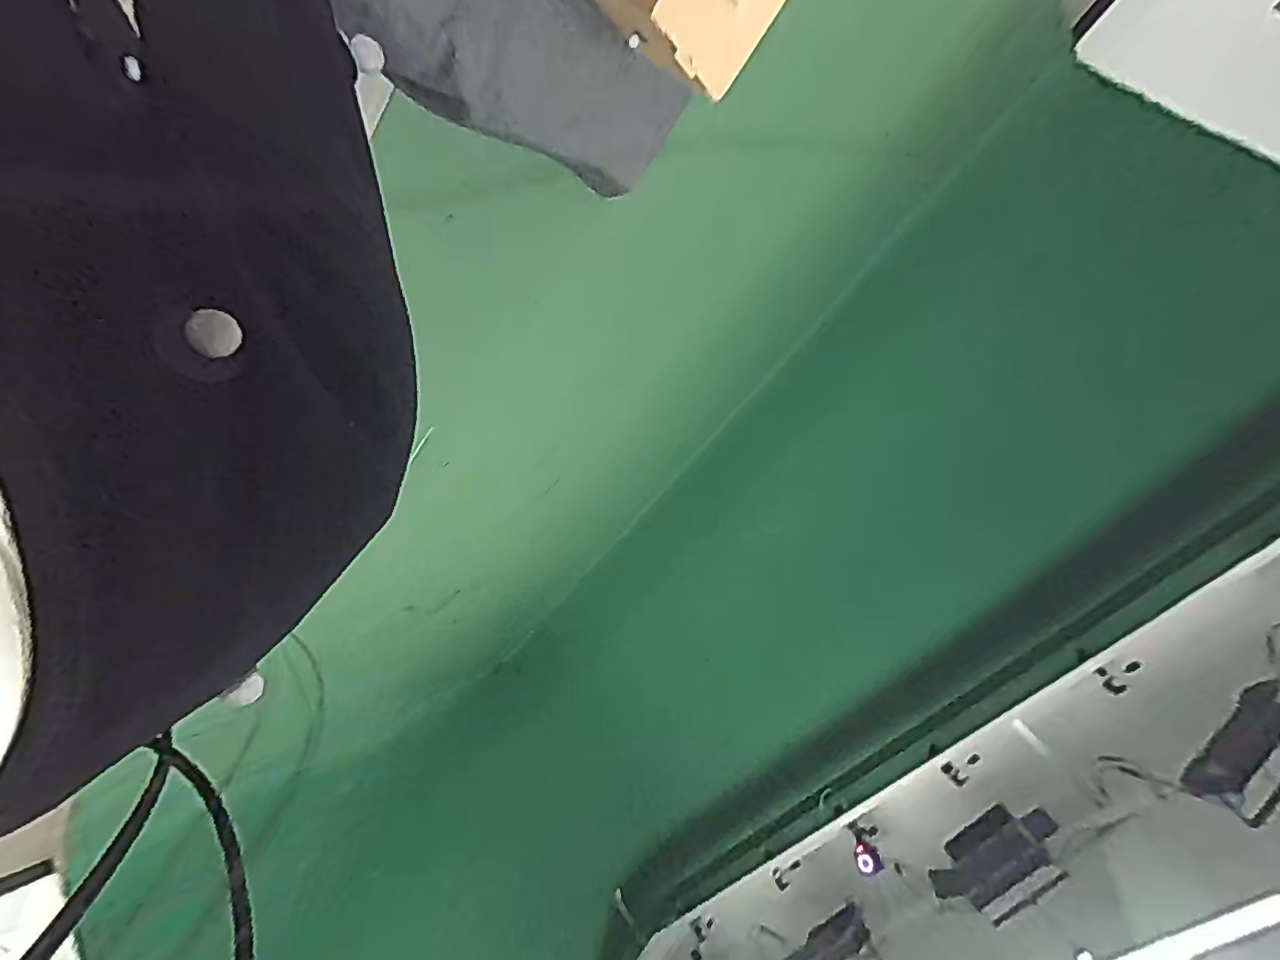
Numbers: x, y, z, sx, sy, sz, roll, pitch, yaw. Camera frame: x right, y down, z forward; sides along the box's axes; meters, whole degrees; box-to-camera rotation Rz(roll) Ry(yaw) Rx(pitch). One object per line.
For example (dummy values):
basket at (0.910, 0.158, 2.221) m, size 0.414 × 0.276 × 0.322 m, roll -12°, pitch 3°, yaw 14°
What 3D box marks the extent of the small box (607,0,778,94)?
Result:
small box at (0.050, -0.605, 0.615) m, size 0.179 × 0.176 × 0.168 m, roll -50°, pitch 158°, yaw 23°
